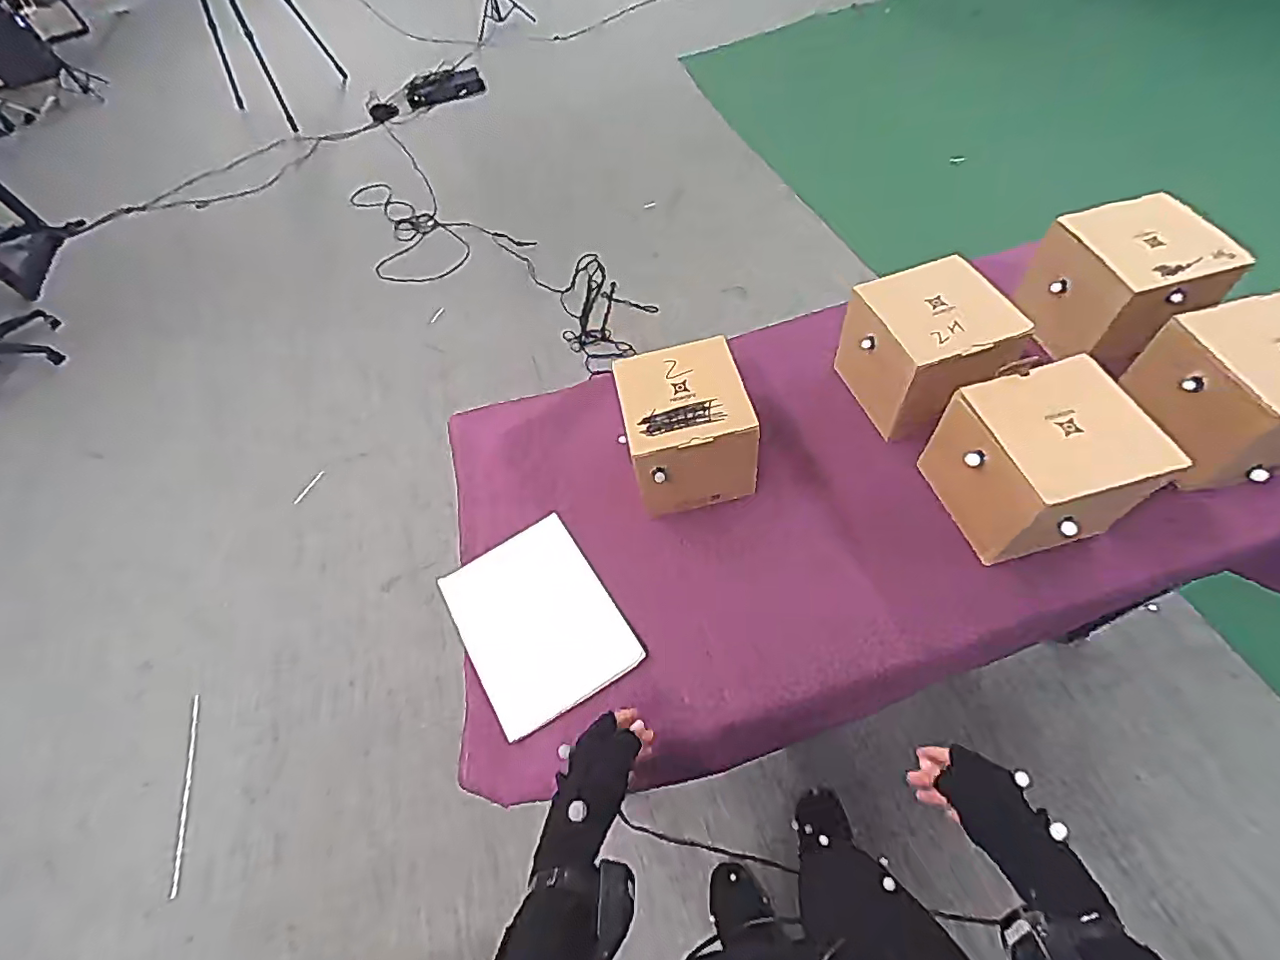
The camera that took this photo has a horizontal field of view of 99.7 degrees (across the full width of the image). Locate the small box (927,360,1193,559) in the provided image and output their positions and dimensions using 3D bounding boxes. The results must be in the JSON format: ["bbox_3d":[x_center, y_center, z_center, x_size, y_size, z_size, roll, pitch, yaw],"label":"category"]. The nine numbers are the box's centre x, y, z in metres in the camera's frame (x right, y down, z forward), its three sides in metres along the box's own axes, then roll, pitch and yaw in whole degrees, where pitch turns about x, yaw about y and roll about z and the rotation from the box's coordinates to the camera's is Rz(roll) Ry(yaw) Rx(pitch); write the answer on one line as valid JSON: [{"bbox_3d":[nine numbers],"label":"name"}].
[{"bbox_3d":[0.500,-0.015,0.680,0.168,0.176,0.179,-15,58,0],"label":"small box"}]

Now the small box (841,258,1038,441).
[{"bbox_3d":[0.421,-0.188,0.800,0.168,0.176,0.179,-17,58,-2],"label":"small box"}]

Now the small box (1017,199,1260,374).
[{"bbox_3d":[0.719,-0.282,0.812,0.168,0.176,0.179,-14,57,1],"label":"small box"}]
